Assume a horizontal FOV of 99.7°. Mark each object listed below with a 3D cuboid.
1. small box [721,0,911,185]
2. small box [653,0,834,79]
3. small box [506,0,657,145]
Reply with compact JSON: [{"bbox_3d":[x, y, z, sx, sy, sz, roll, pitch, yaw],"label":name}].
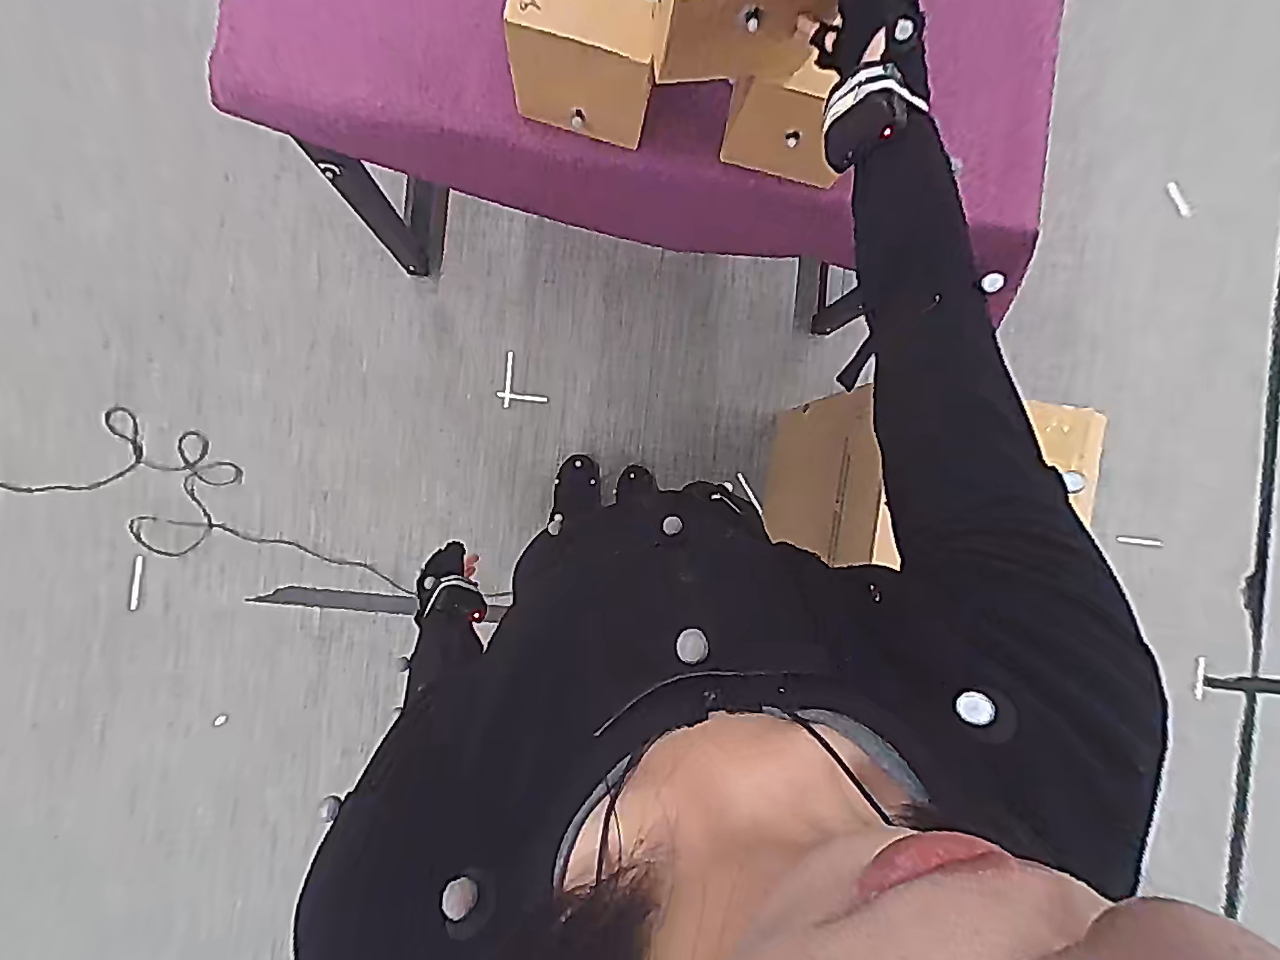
[{"bbox_3d":[0.227,-0.535,0.735,0.179,0.176,0.168,11,88,-5],"label":"small box"},{"bbox_3d":[0.103,-0.540,0.547,0.179,0.176,0.168,-7,102,-3],"label":"small box"},{"bbox_3d":[-0.061,-0.577,0.703,0.179,0.176,0.168,13,88,-7],"label":"small box"}]
